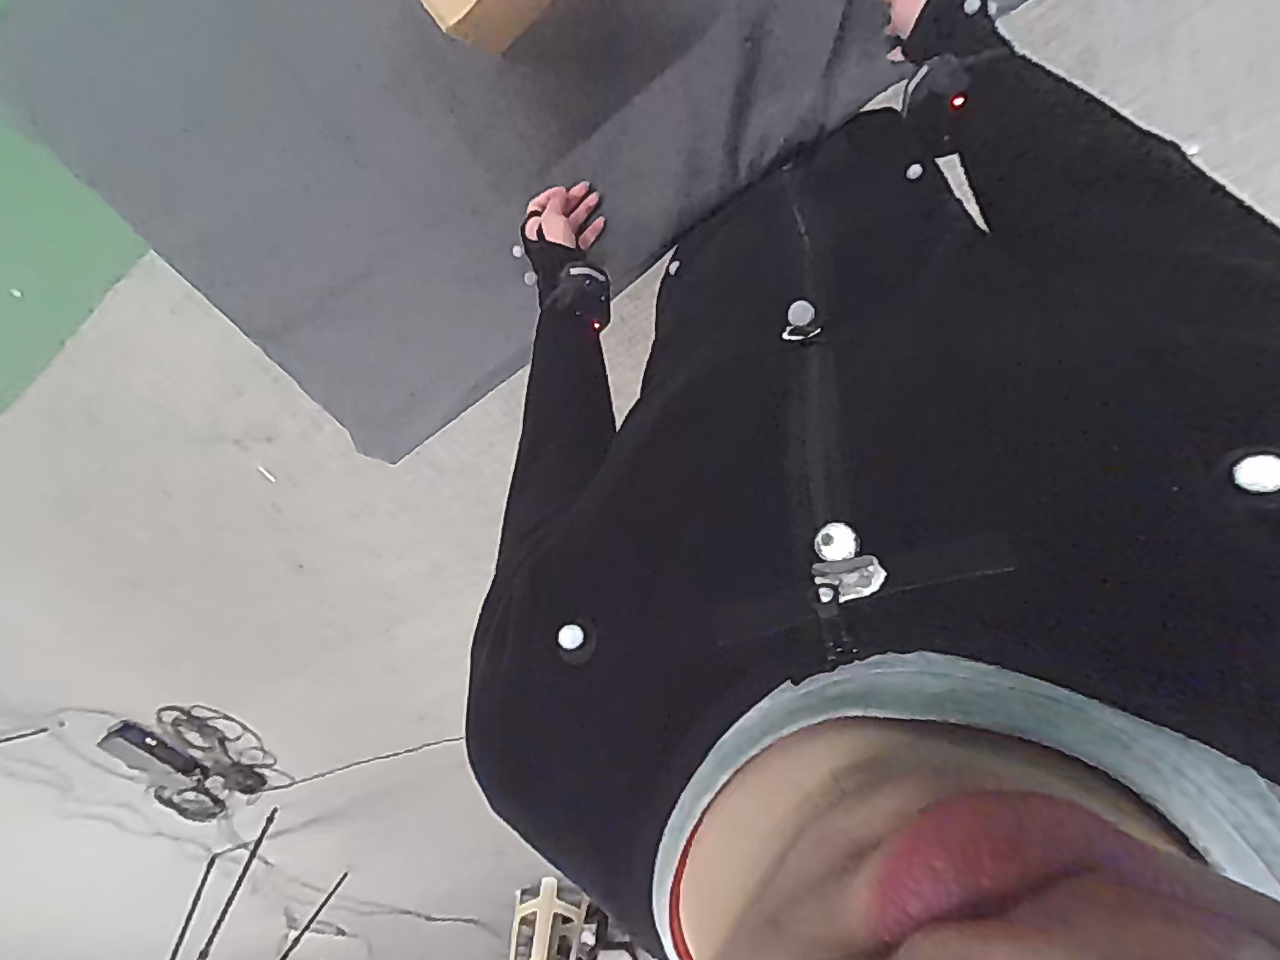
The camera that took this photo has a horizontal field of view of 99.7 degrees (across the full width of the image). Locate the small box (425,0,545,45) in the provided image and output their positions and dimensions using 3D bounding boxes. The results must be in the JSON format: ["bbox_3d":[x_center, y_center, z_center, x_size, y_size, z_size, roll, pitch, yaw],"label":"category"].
[{"bbox_3d":[-0.136,-0.517,0.457,0.179,0.176,0.168,-32,117,20],"label":"small box"}]
